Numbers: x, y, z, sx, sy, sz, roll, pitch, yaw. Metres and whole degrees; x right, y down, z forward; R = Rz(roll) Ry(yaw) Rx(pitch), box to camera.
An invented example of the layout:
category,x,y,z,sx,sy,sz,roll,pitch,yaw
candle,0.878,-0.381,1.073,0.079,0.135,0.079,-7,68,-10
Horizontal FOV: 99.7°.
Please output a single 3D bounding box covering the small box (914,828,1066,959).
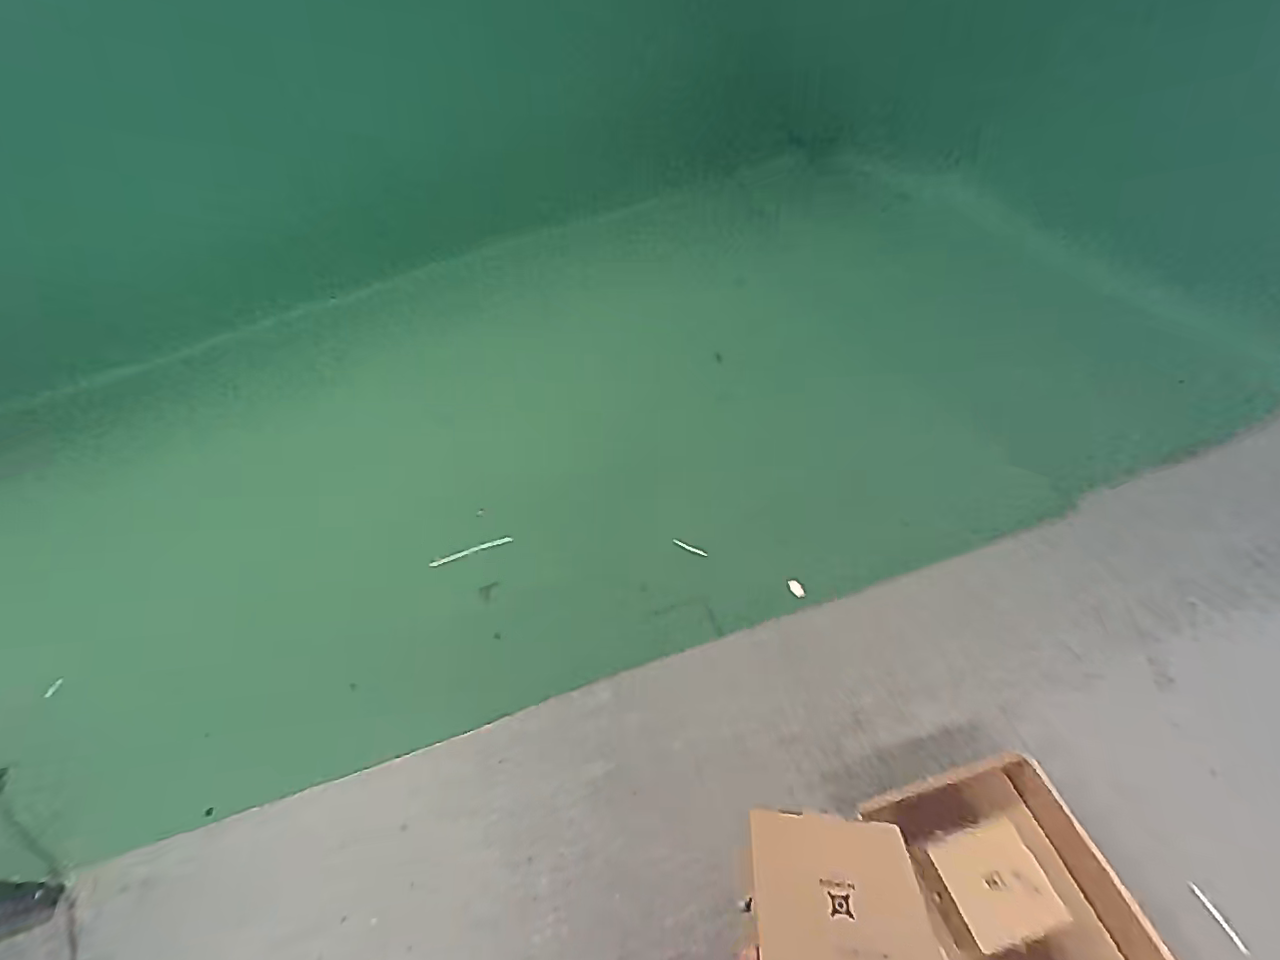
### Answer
category,x,y,z,sx,sy,sz,roll,pitch,yaw
small box,0.661,0.807,1.052,0.179,0.176,0.168,-18,50,-2
